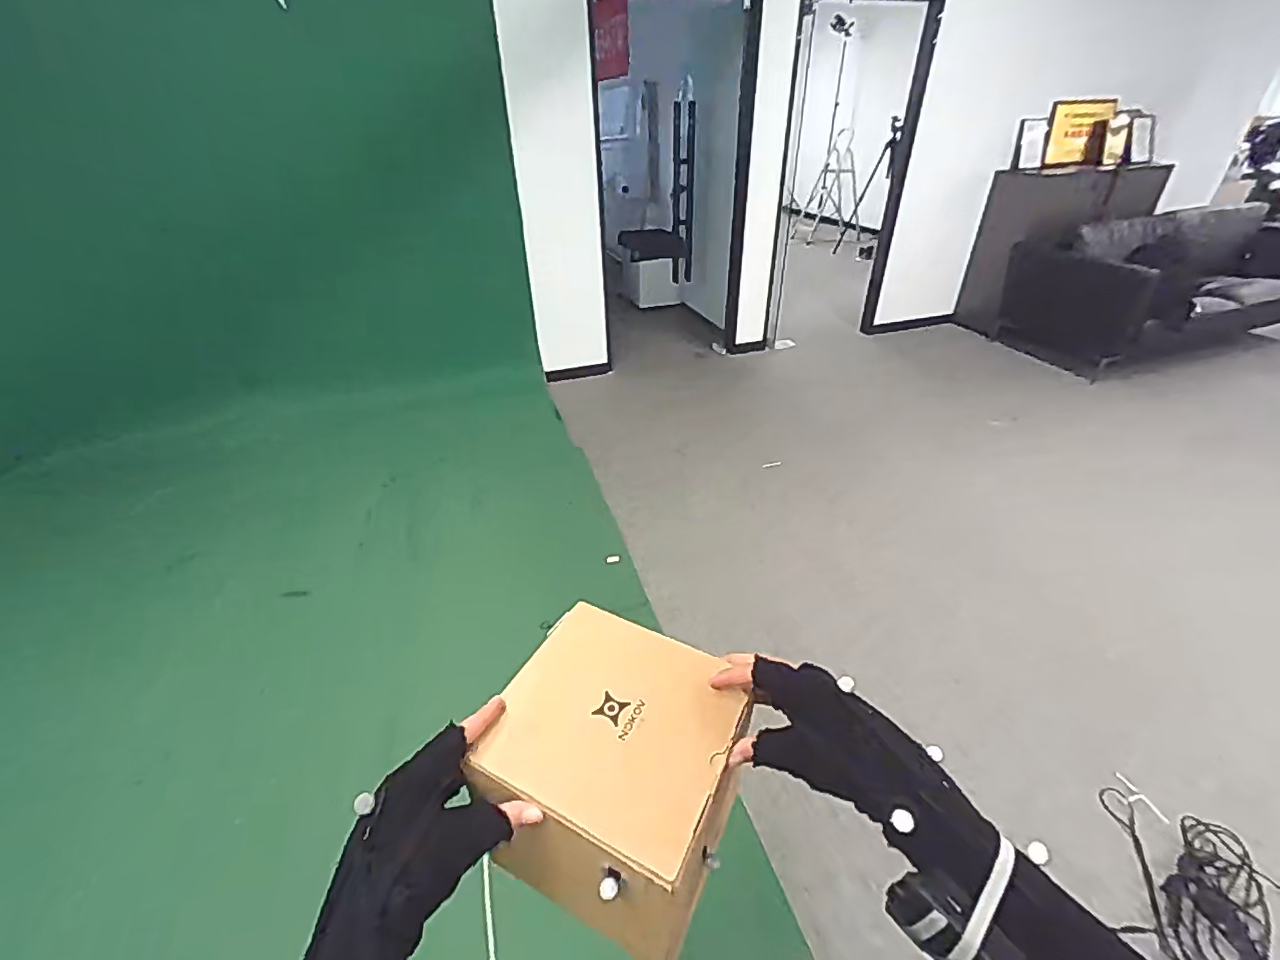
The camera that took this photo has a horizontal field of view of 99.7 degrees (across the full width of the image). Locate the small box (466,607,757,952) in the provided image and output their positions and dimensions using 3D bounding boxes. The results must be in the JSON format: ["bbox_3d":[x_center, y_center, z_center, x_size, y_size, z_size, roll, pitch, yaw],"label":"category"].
[{"bbox_3d":[-0.019,0.248,0.464,0.179,0.176,0.168,18,37,23],"label":"small box"}]
